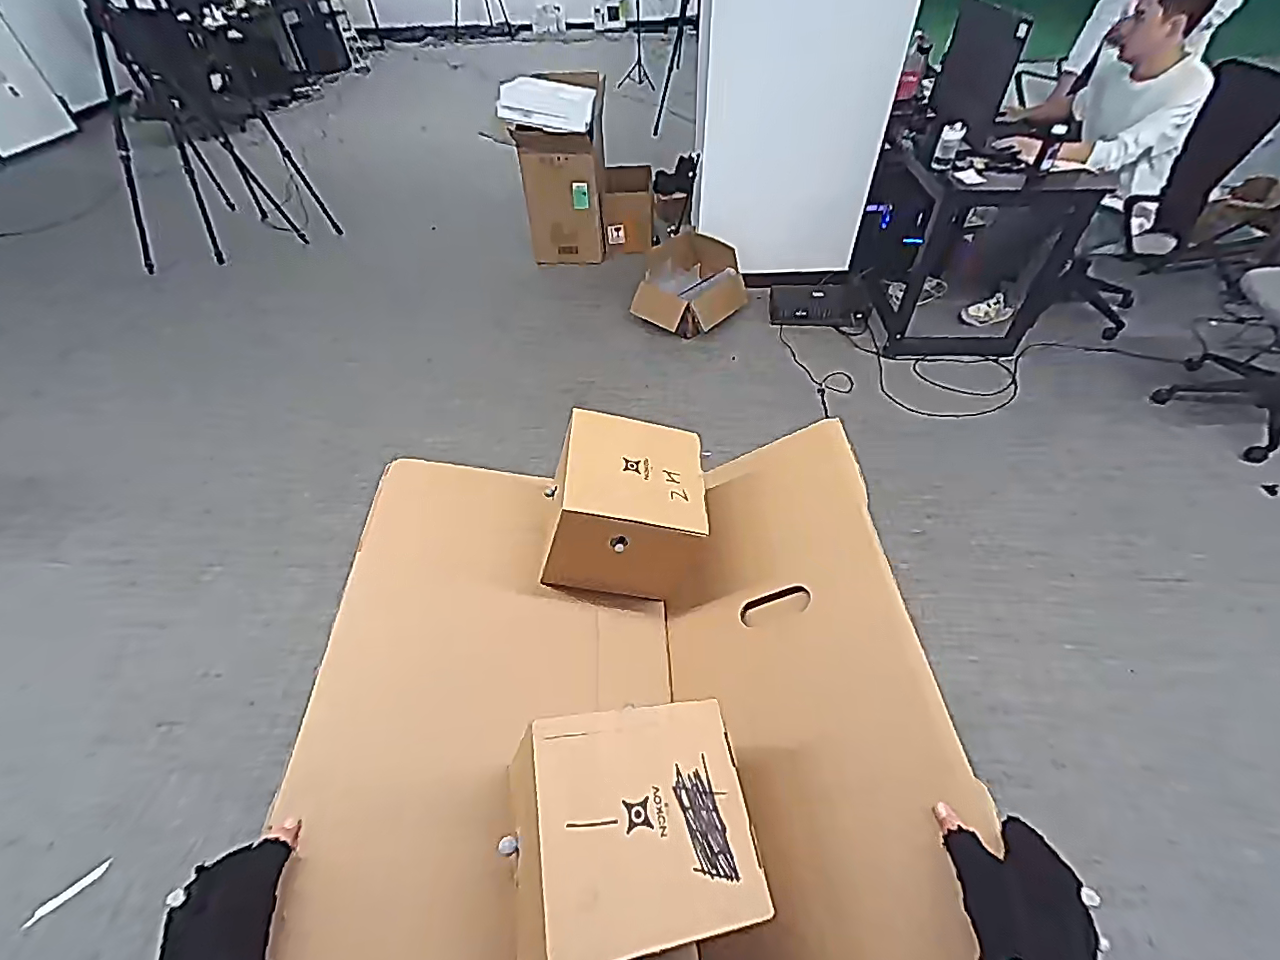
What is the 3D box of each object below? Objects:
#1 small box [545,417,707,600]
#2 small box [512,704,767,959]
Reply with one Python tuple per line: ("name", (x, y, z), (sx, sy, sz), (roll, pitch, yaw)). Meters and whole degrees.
("small box", (-0.024, 0.045, 0.728), (0.179, 0.176, 0.168), (12, 49, -12))
("small box", (-0.017, 0.321, 0.497), (0.179, 0.176, 0.168), (2, 51, -19))
